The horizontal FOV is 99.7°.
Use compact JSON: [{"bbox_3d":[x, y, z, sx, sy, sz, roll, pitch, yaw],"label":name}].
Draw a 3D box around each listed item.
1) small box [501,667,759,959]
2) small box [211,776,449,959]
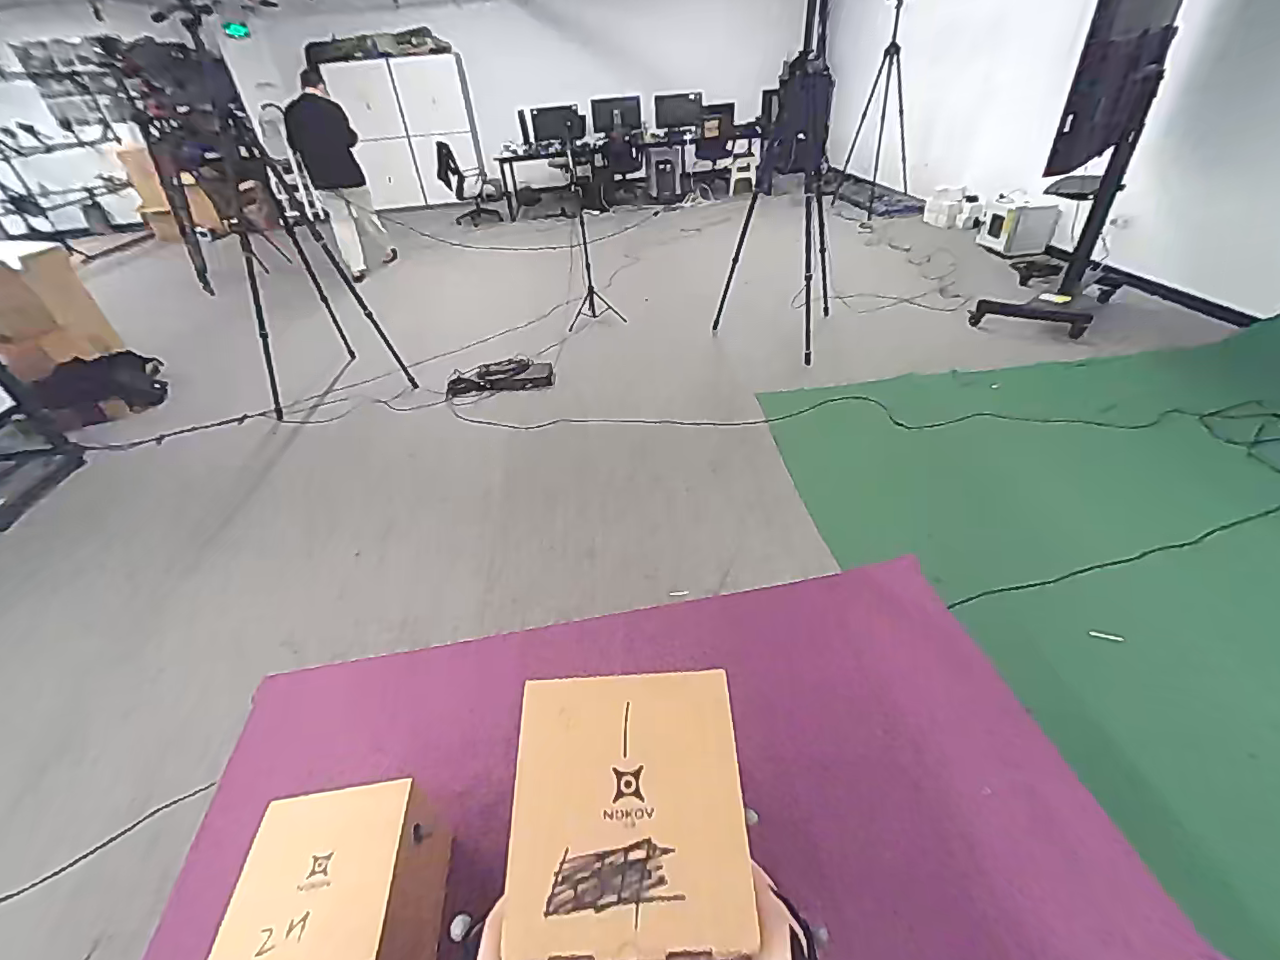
[{"bbox_3d":[-0.003,0.271,0.446,0.168,0.176,0.179,-3,52,2],"label":"small box"},{"bbox_3d":[-0.329,0.475,0.614,0.168,0.176,0.179,-9,38,-3],"label":"small box"}]
